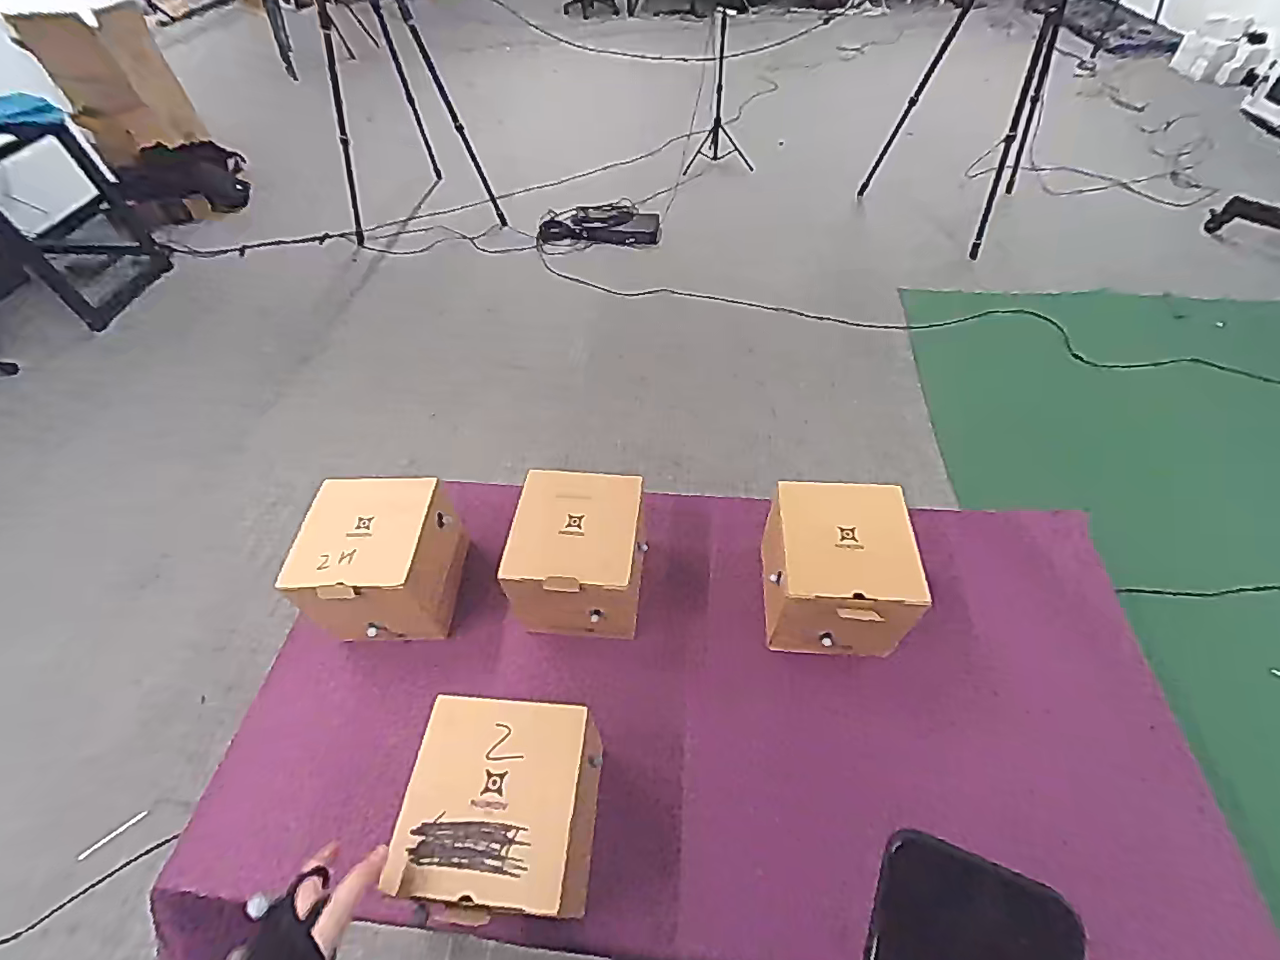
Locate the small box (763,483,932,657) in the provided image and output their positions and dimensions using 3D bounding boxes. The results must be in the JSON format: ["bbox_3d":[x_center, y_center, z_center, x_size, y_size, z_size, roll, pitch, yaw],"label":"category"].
[{"bbox_3d":[0.266,0.124,0.744,0.168,0.176,0.179,2,52,5],"label":"small box"}]

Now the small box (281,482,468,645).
[{"bbox_3d":[-0.362,0.122,0.781,0.168,0.176,0.179,-2,51,2],"label":"small box"}]

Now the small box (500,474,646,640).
[{"bbox_3d":[-0.081,0.114,0.773,0.168,0.176,0.179,4,52,5],"label":"small box"}]
